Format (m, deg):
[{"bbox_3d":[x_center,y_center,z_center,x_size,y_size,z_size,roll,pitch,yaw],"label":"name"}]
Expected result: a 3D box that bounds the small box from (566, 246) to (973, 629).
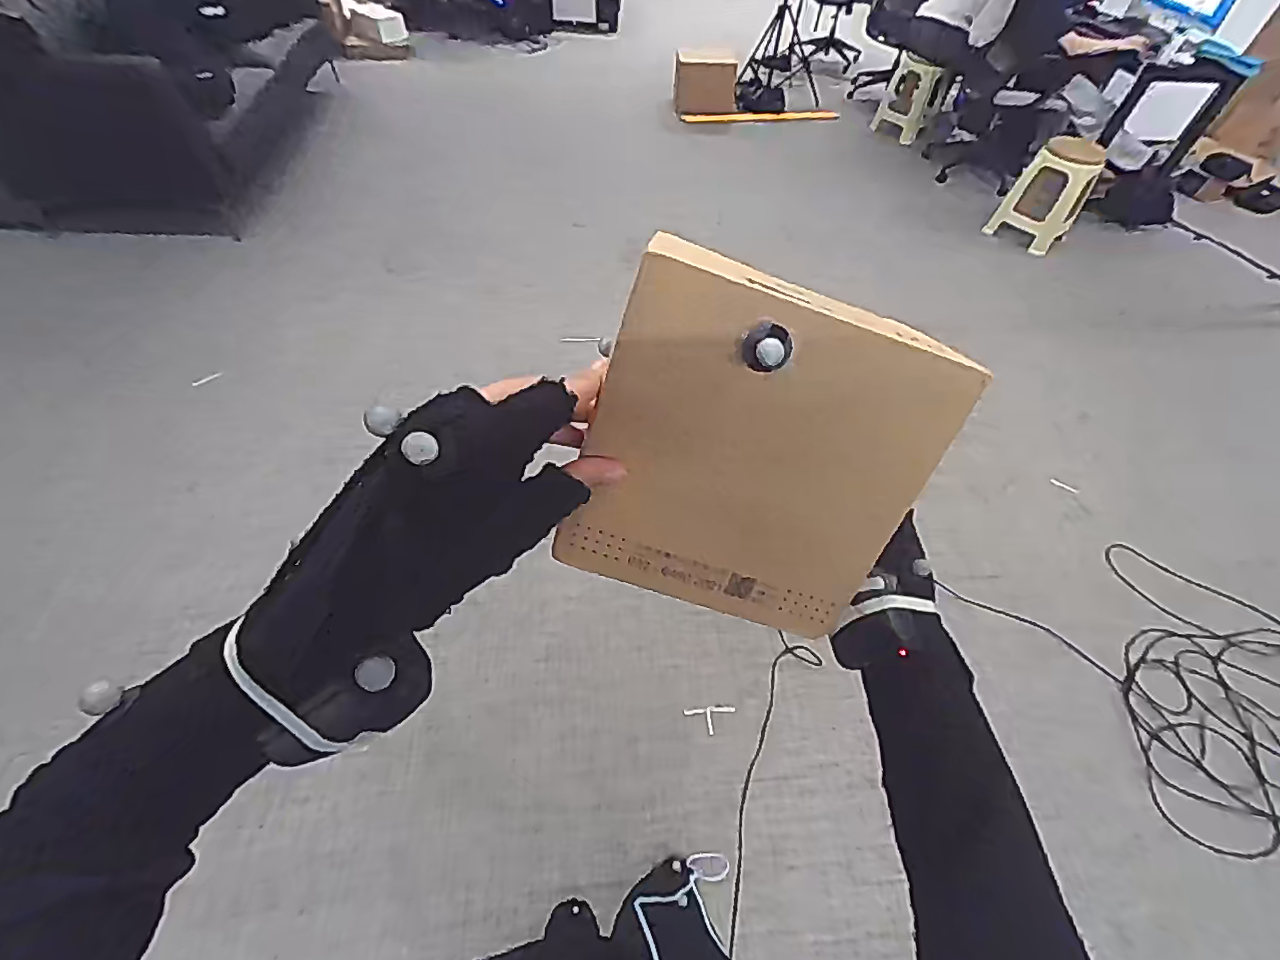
[{"bbox_3d":[0.060,-0.038,0.356,0.168,0.176,0.179,18,25,-4],"label":"small box"}]
